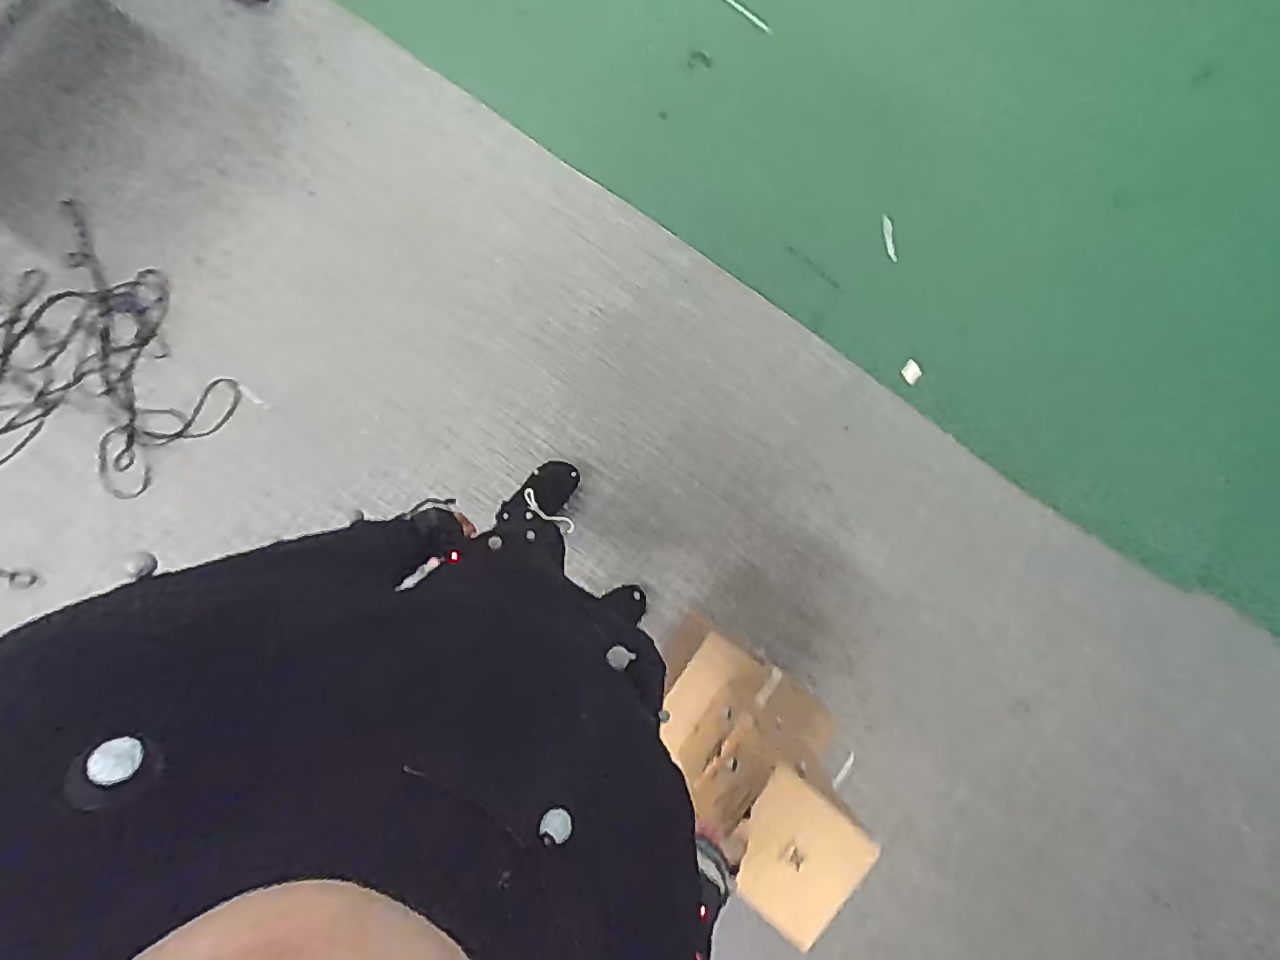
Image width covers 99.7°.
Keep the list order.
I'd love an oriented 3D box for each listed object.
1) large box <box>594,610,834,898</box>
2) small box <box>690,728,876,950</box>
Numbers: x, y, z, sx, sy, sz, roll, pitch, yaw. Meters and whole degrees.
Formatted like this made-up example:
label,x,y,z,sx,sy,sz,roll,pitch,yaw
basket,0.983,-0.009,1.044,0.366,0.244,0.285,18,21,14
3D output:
label,x,y,z,sx,sy,sz,roll,pitch,yaw
large box,0.144,0.559,1.192,0.320,0.320,0.408,35,87,3
small box,0.194,0.502,0.790,0.179,0.176,0.168,41,86,1
